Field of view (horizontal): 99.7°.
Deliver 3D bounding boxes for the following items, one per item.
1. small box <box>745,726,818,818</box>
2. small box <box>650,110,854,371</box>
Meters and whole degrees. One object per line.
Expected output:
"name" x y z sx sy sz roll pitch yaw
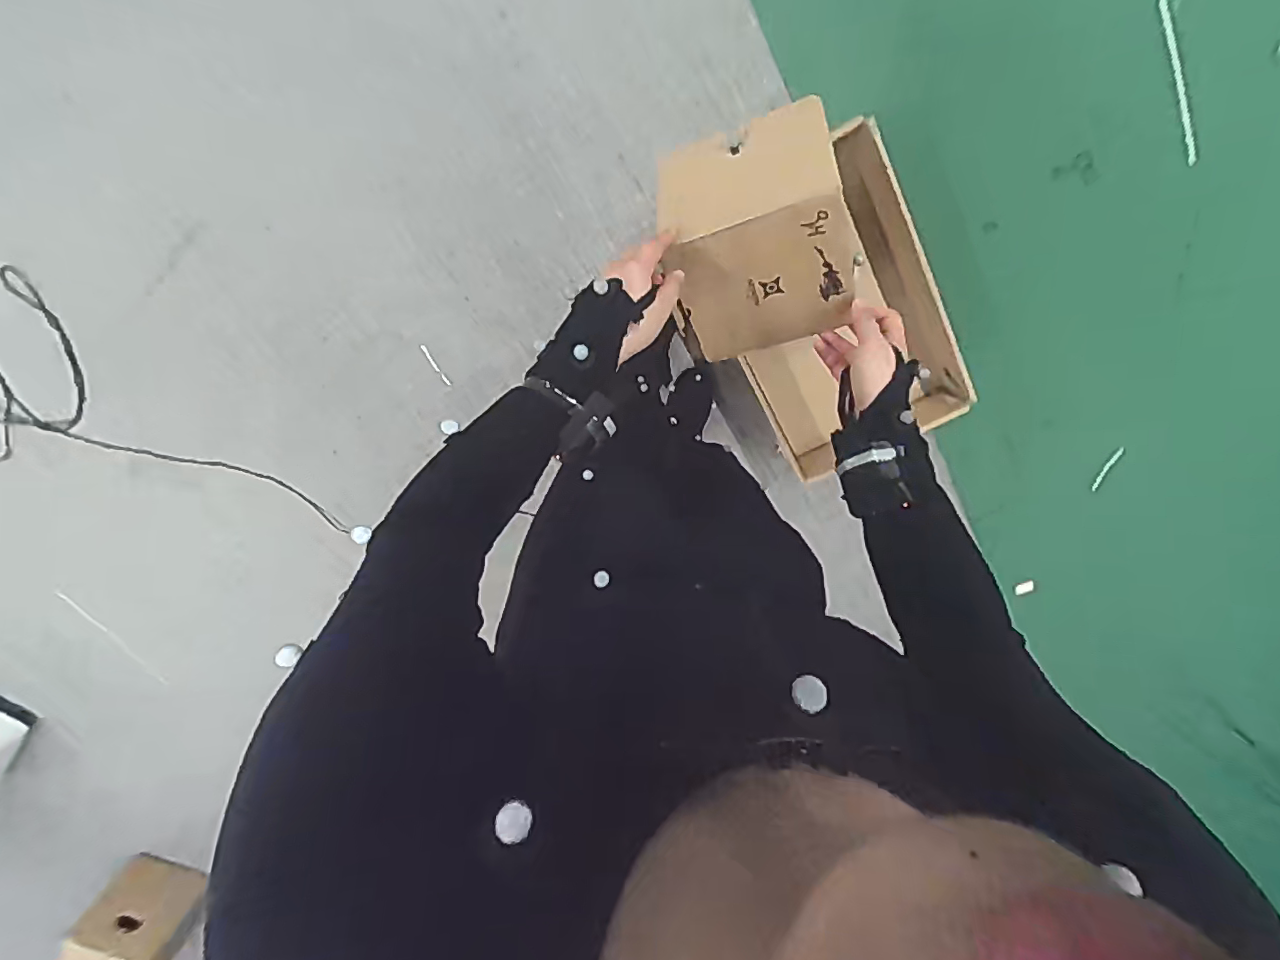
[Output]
"small box" 0.443 0.921 1.711 0.168 0.176 0.179 -23 109 12
"small box" 0.125 -0.252 0.591 0.179 0.176 0.168 -10 147 23
